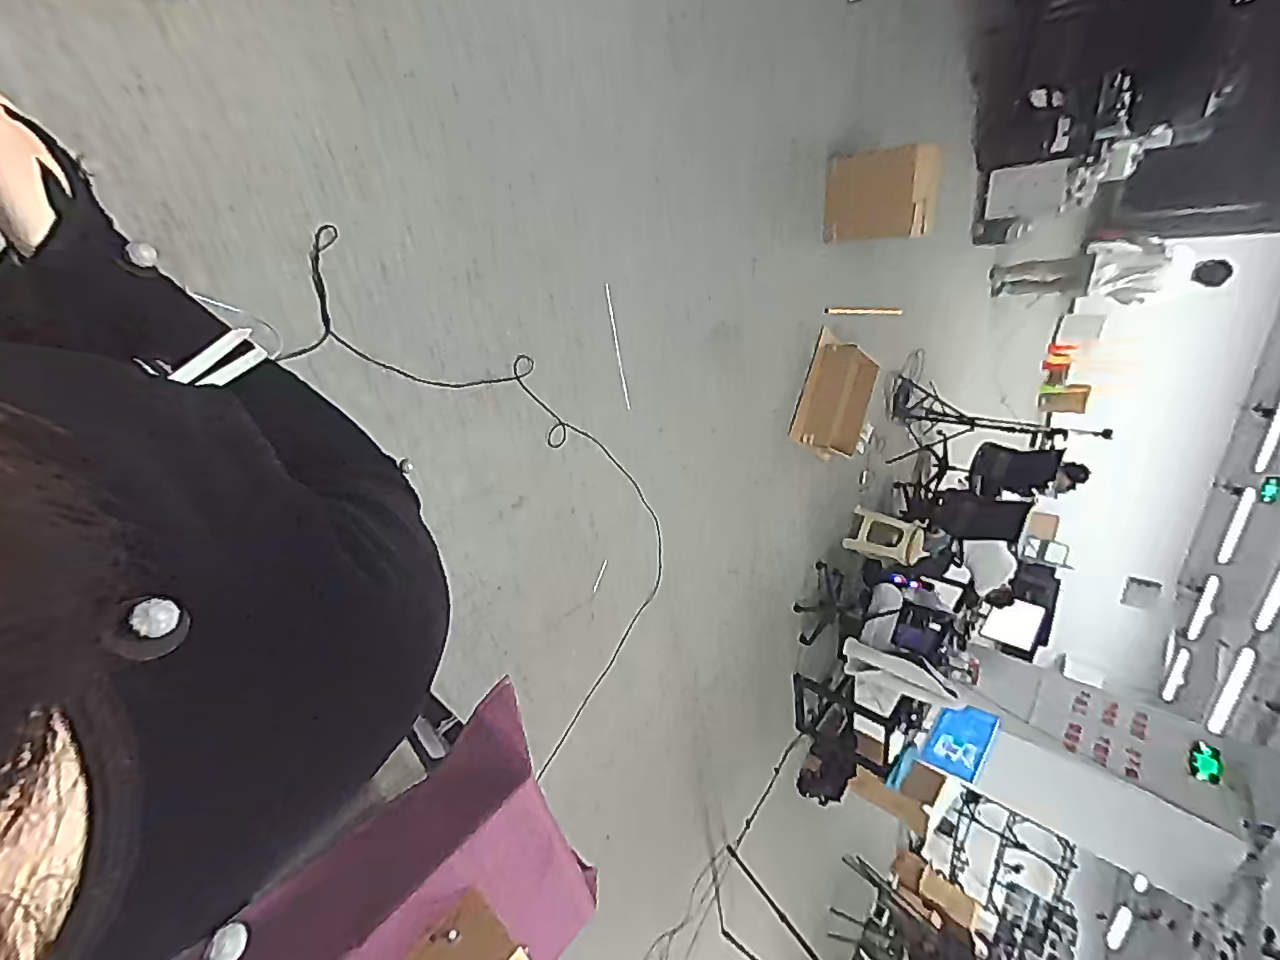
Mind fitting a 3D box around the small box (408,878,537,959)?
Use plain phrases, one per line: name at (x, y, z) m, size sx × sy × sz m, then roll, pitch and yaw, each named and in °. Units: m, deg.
small box at (-0.316, 0.932, 1.049) m, size 0.168 × 0.176 × 0.179 m, roll -33°, pitch 125°, yaw -36°
